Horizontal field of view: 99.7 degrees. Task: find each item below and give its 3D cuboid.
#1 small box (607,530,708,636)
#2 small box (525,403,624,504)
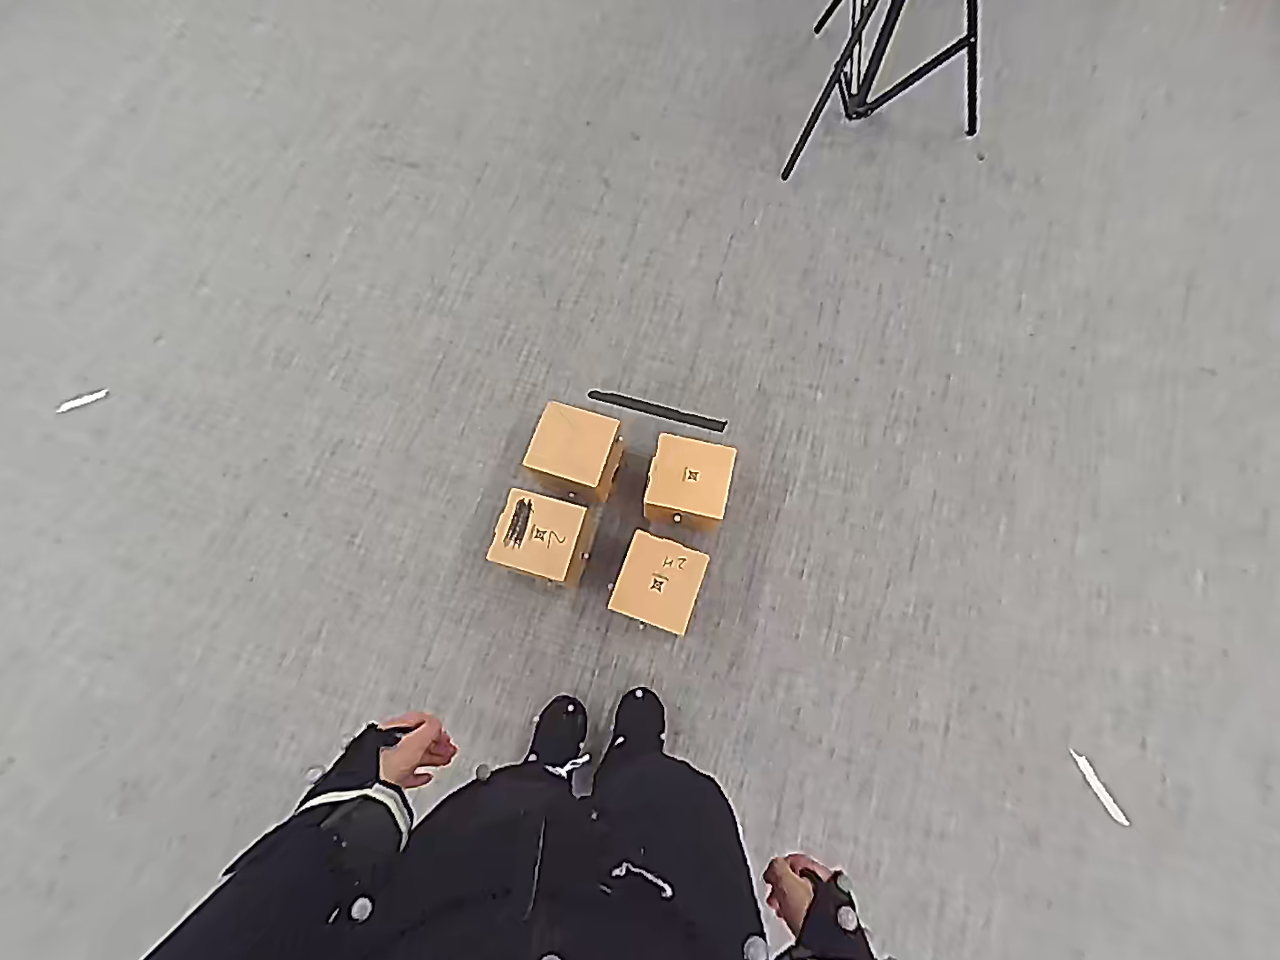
[{"bbox_3d":[0.041,0.230,1.188,0.168,0.176,0.179,19,75,6],"label":"small box"},{"bbox_3d":[-0.148,-0.060,1.276,0.179,0.176,0.168,17,75,6],"label":"small box"}]
